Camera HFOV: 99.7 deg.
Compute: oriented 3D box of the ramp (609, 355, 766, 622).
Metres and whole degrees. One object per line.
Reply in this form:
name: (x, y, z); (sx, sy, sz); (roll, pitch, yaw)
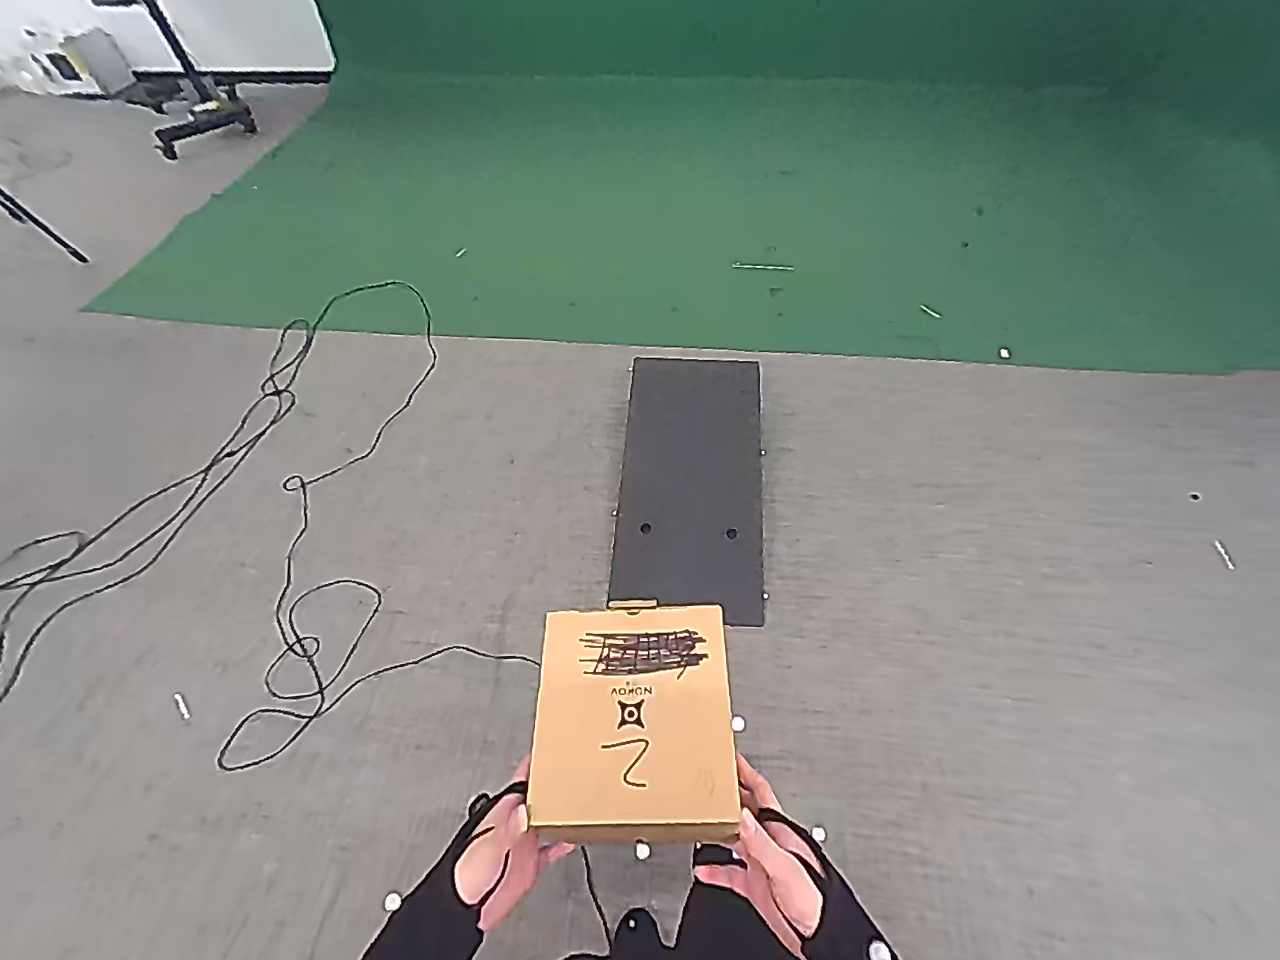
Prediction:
ramp: (0.185, -0.024, 1.880); (0.509, 0.206, 0.991); (2, 54, 2)
